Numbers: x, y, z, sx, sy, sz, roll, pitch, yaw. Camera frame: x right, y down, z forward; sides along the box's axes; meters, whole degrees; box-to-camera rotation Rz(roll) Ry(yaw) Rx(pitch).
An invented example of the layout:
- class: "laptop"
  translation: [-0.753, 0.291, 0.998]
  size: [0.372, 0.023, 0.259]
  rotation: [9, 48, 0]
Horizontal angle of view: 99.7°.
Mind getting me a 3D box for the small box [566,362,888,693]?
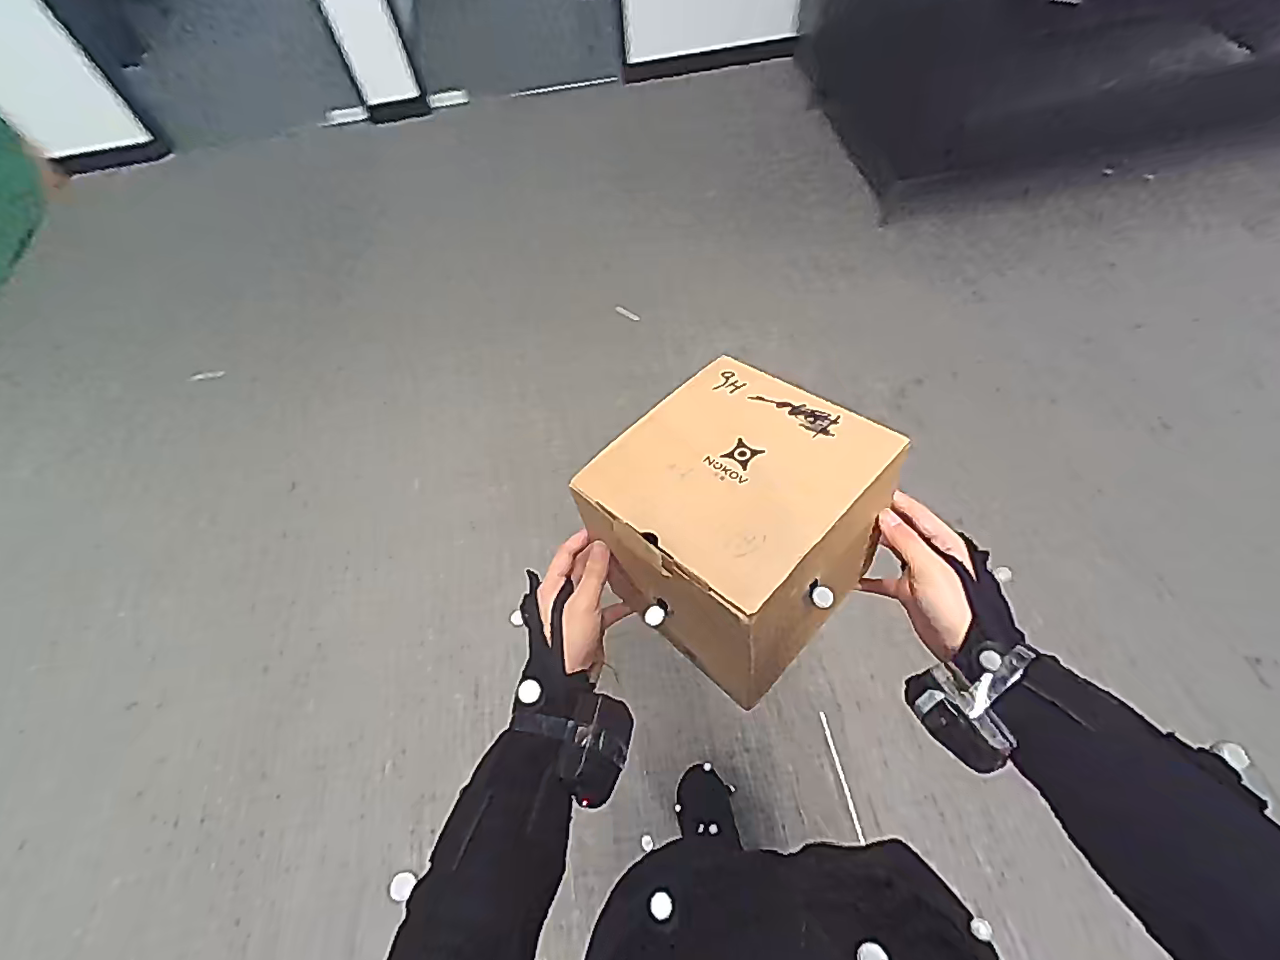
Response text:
- class: "small box"
  translation: [0.073, 0.040, 0.446]
  size: [0.168, 0.176, 0.179]
  rotation: [34, 65, 32]
